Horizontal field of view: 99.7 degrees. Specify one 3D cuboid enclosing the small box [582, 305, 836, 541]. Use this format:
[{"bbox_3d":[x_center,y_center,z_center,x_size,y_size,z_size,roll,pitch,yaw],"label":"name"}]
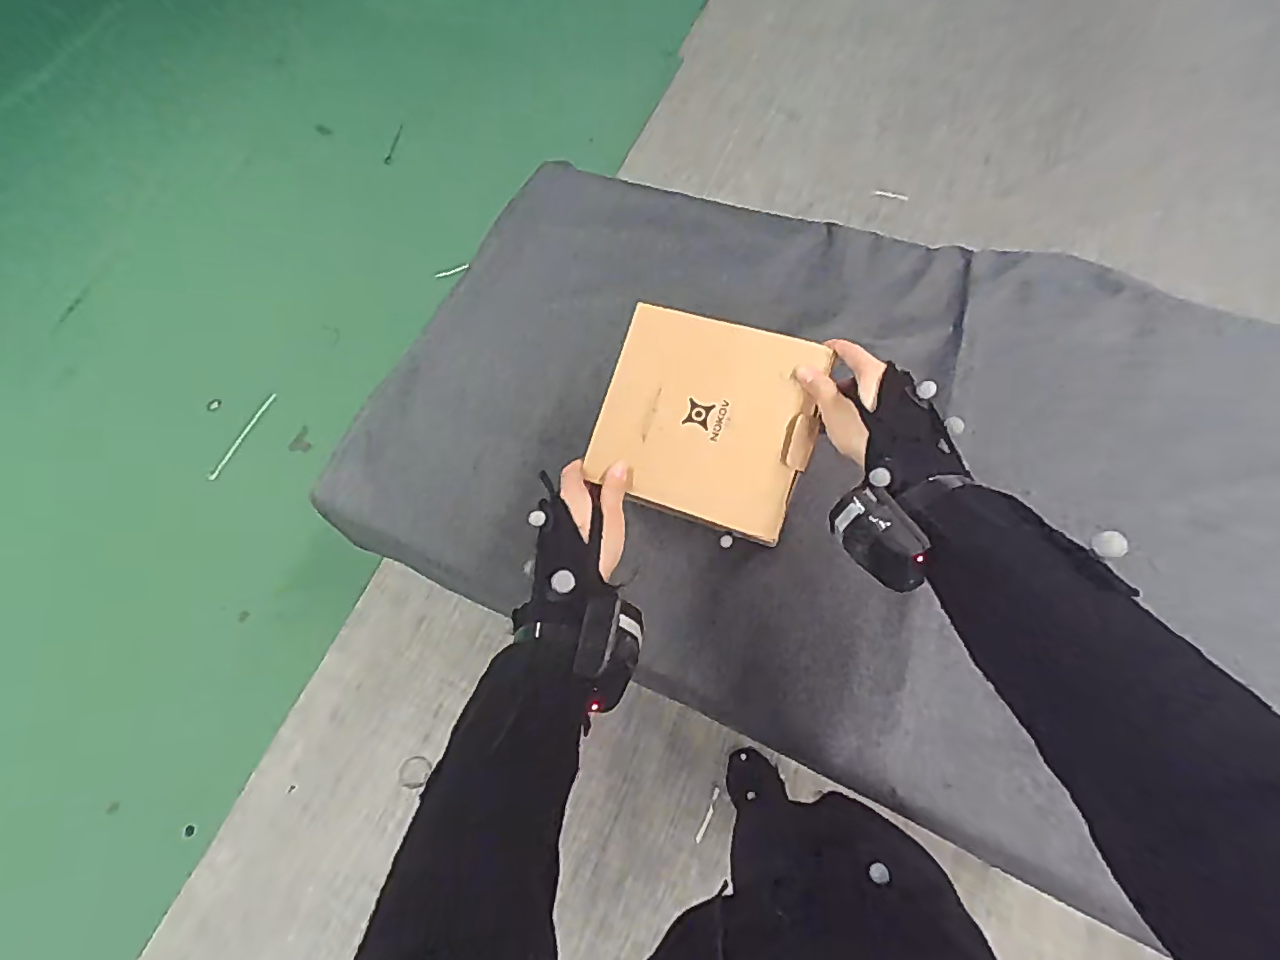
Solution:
[{"bbox_3d":[0.072,-0.043,0.529,0.179,0.176,0.168,17,84,16],"label":"small box"}]
